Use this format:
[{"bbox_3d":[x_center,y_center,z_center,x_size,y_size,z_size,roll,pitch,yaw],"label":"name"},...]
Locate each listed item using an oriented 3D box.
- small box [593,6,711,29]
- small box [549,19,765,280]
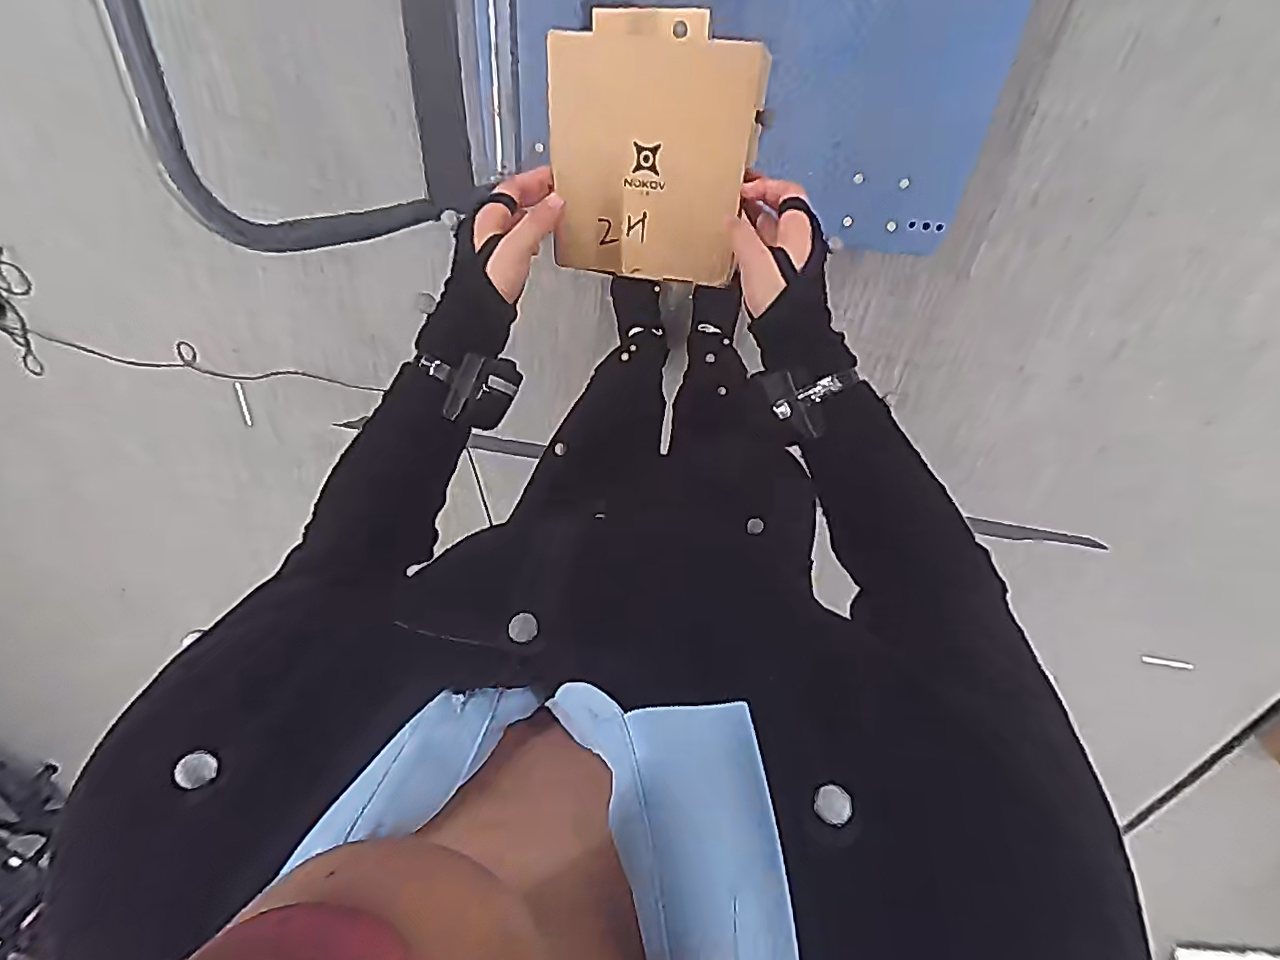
[{"bbox_3d":[0.021,-0.617,0.853,0.168,0.176,0.179,4,123,5],"label":"small box"},{"bbox_3d":[0.021,-0.309,0.512,0.168,0.176,0.179,11,127,9],"label":"small box"}]
